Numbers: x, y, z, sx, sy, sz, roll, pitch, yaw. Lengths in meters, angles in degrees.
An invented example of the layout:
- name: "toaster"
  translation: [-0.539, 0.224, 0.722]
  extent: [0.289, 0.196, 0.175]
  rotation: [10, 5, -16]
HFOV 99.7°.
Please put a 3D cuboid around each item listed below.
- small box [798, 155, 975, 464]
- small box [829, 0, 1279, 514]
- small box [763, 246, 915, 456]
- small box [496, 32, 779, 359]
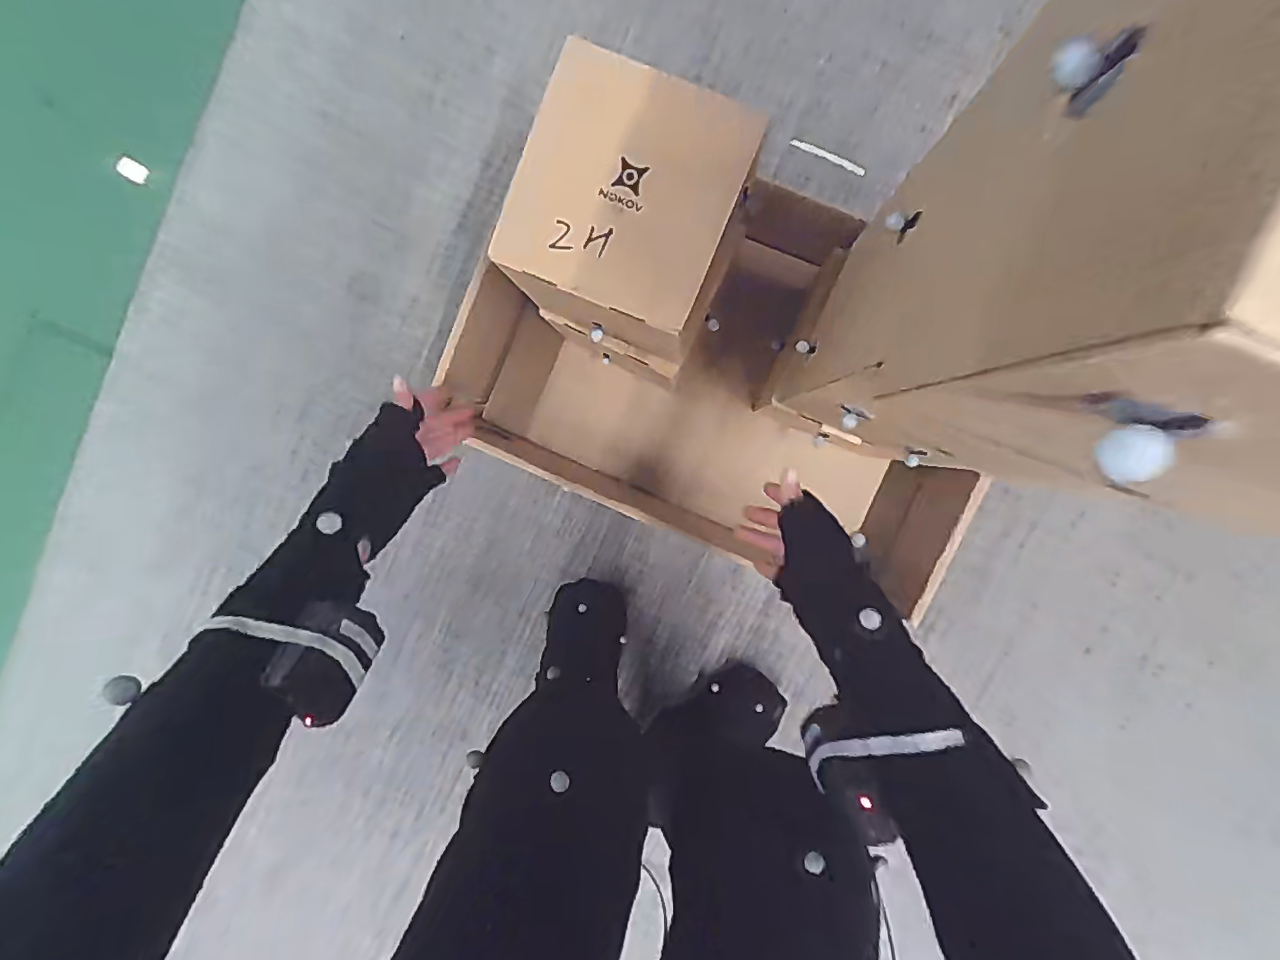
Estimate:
- name: "small box"
  translation: [0.248, -0.119, 0.455]
  extent: [0.168, 0.176, 0.179]
  rotation: [24, 96, 4]
- name: "small box"
  translation: [0.229, -0.102, 0.310]
  extent: [0.168, 0.176, 0.179]
  rotation: [25, 97, 3]
- name: "small box"
  translation: [0.252, -0.138, 0.635]
  extent: [0.168, 0.176, 0.179]
  rotation: [20, 96, 5]
- name: "small box"
  translation: [0.000, -0.227, 0.484]
  extent: [0.168, 0.176, 0.179]
  rotation: [23, 96, 2]
